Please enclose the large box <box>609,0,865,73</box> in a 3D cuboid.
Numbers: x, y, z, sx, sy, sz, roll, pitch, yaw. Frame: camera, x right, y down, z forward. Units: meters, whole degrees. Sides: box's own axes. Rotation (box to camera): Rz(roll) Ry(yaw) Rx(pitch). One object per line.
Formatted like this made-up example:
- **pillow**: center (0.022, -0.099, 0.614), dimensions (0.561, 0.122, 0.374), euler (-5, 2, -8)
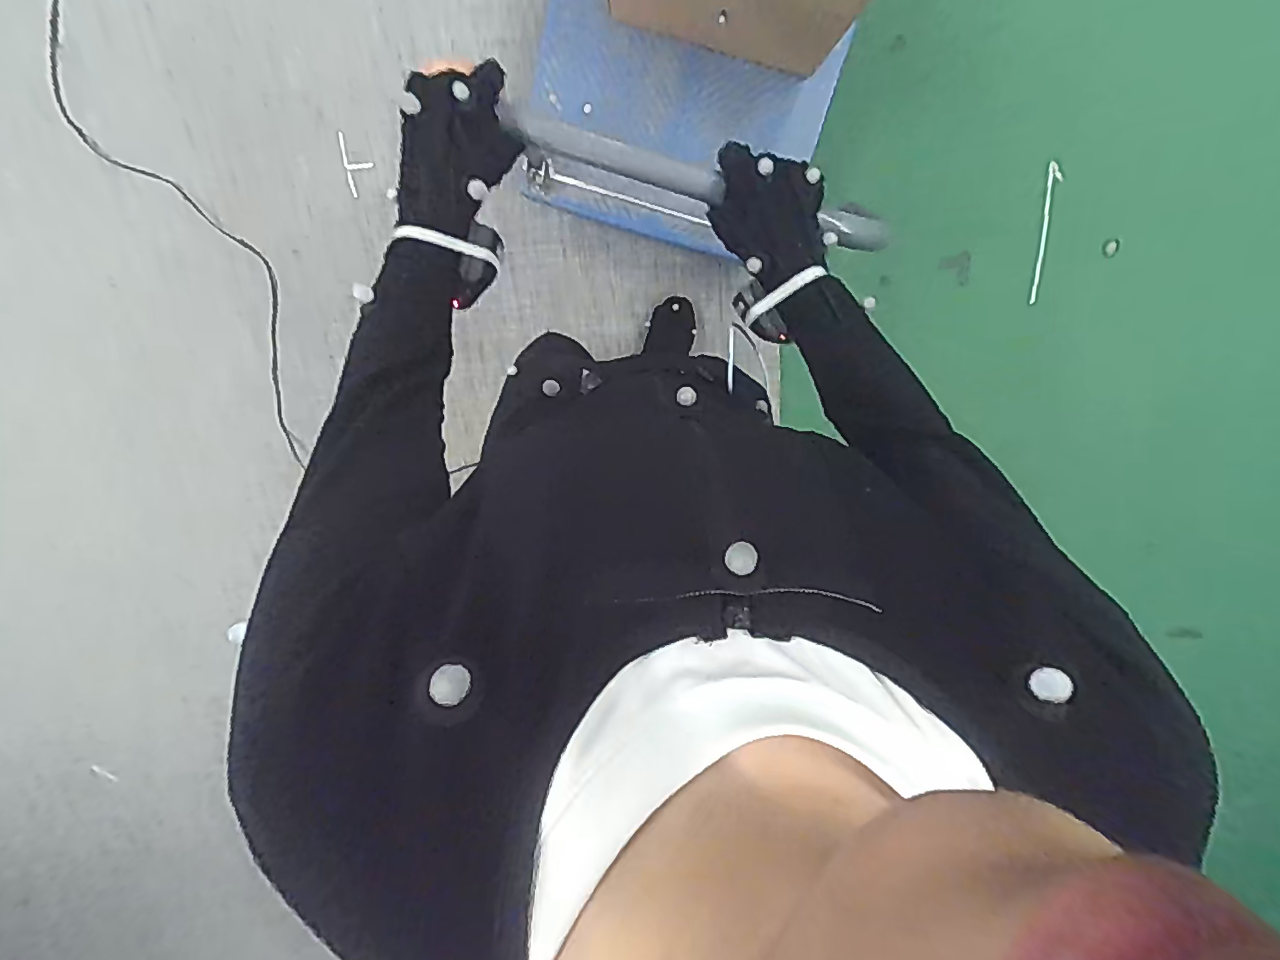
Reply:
- **large box**: center (0.172, -0.925, 0.858), dimensions (0.408, 0.320, 0.320), euler (13, 107, -5)
